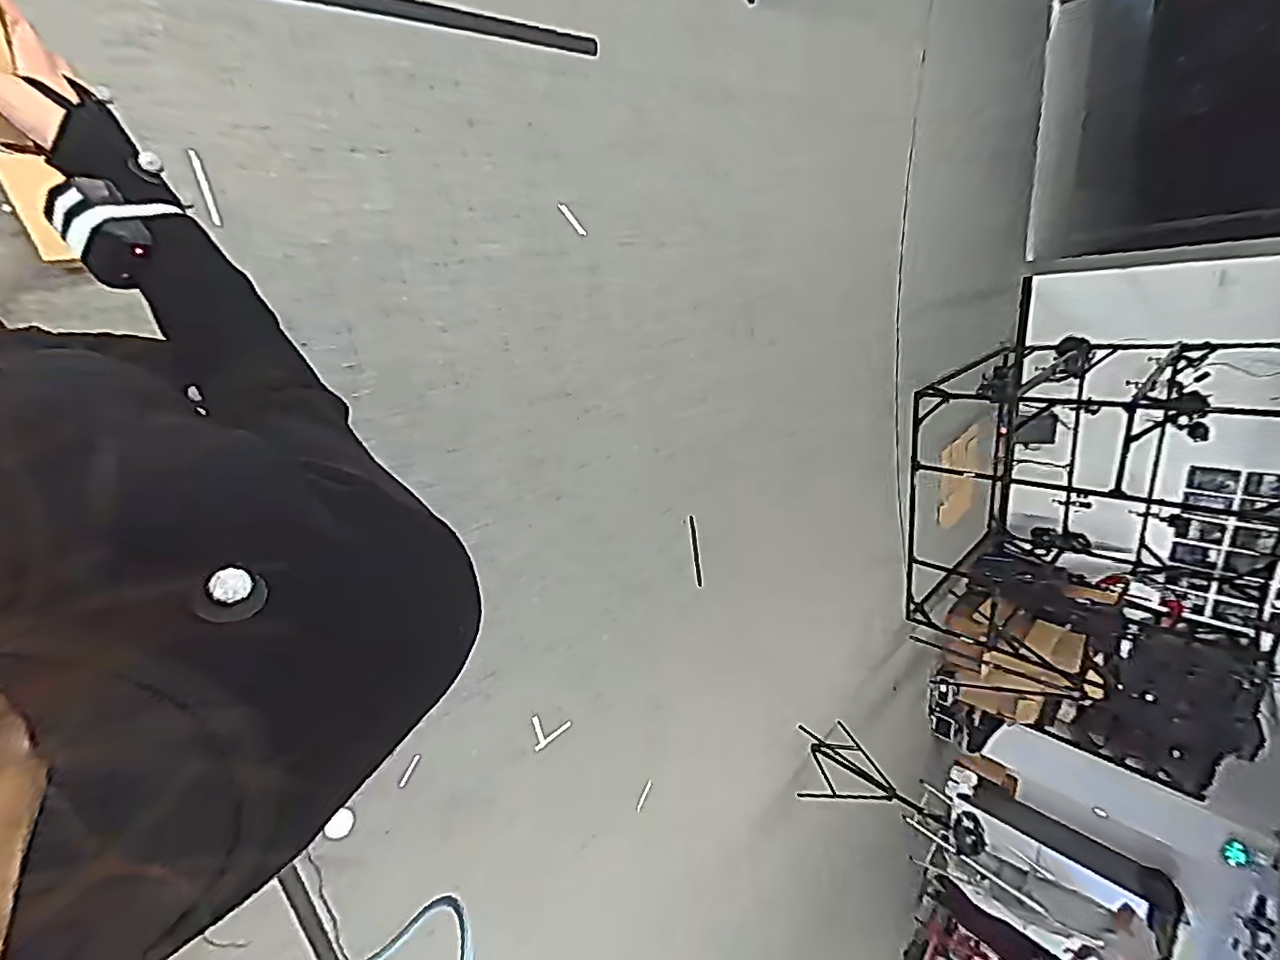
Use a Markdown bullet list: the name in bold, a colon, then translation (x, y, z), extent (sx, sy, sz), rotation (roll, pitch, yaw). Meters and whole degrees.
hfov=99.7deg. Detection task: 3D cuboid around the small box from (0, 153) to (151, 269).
- **small box**: translation (-1.084, -0.512, 1.043), extent (0.168, 0.176, 0.179), rotation (-28, 118, -35)
